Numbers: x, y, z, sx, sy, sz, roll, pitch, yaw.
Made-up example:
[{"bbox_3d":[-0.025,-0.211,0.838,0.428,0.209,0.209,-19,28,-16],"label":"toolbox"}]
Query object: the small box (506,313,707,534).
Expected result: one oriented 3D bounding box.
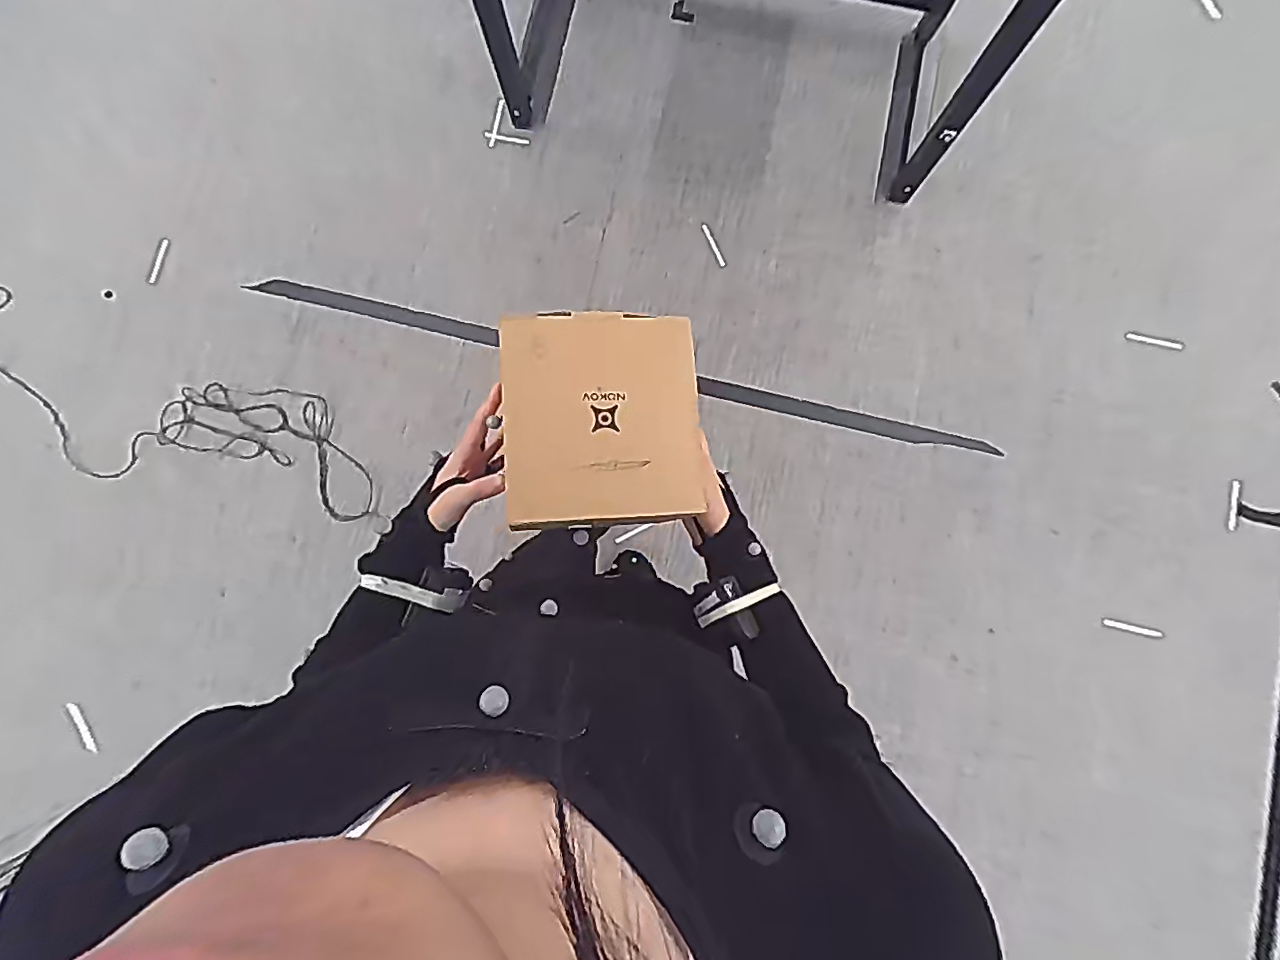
[{"bbox_3d":[-0.044,-0.042,0.524,0.168,0.176,0.179,-2,83,-12],"label":"small box"}]
